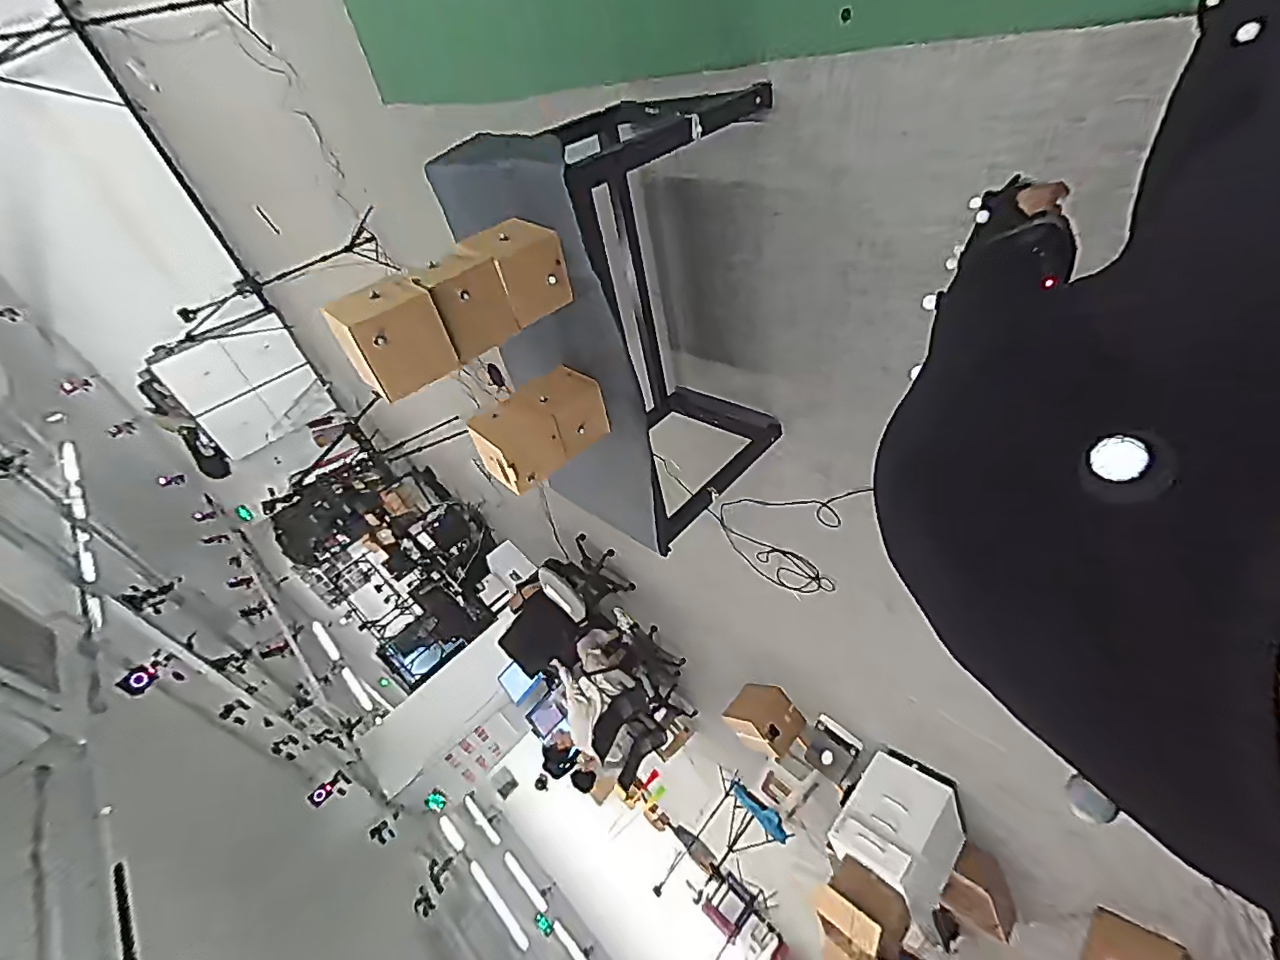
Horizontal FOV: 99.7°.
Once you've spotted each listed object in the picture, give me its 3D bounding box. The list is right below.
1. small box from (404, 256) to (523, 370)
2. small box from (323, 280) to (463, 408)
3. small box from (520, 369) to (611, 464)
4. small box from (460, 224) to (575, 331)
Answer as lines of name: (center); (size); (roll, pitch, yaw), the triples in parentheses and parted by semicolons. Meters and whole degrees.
small box: (-0.392, -0.376, 1.198); (0.168, 0.176, 0.179); (29, 149, 41)
small box: (-0.498, -0.285, 1.106); (0.168, 0.176, 0.179); (33, 150, 37)
small box: (-0.202, -0.182, 1.525); (0.168, 0.176, 0.179); (30, 148, 37)
small box: (-0.280, -0.476, 1.259); (0.179, 0.176, 0.168); (32, 149, 34)
